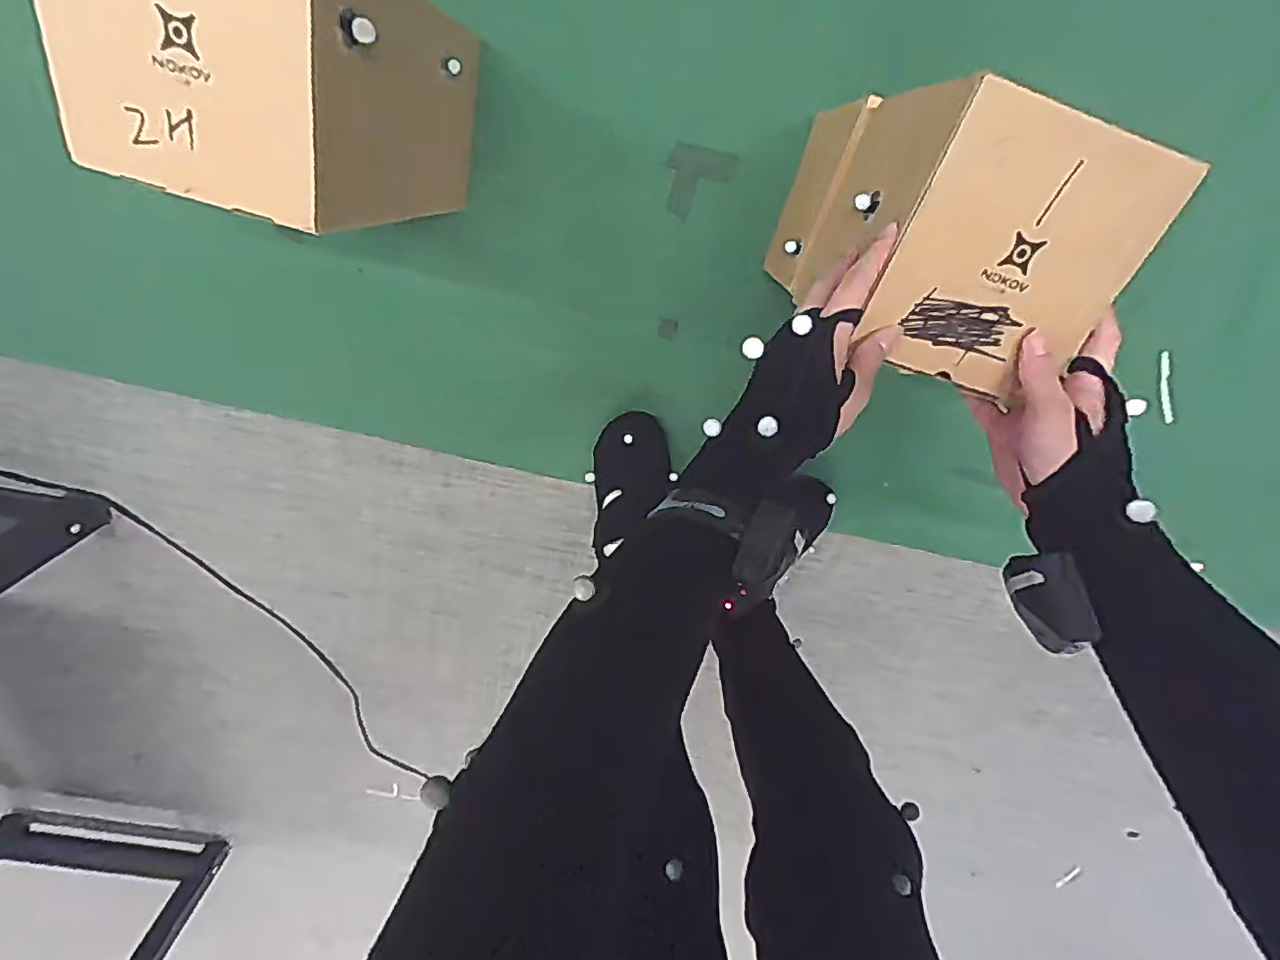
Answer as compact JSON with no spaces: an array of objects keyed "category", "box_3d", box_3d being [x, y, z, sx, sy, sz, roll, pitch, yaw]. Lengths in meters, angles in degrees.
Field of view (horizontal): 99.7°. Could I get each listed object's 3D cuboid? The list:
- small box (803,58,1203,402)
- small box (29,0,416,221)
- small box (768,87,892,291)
[{"category":"small box","box_3d":[0.250,-0.192,0.434,0.168,0.176,0.179,16,119,-9]},{"category":"small box","box_3d":[-0.280,-0.313,0.398,0.168,0.176,0.179,15,119,-6]},{"category":"small box","box_3d":[0.253,-0.289,0.585,0.168,0.176,0.179,14,120,-6]}]
